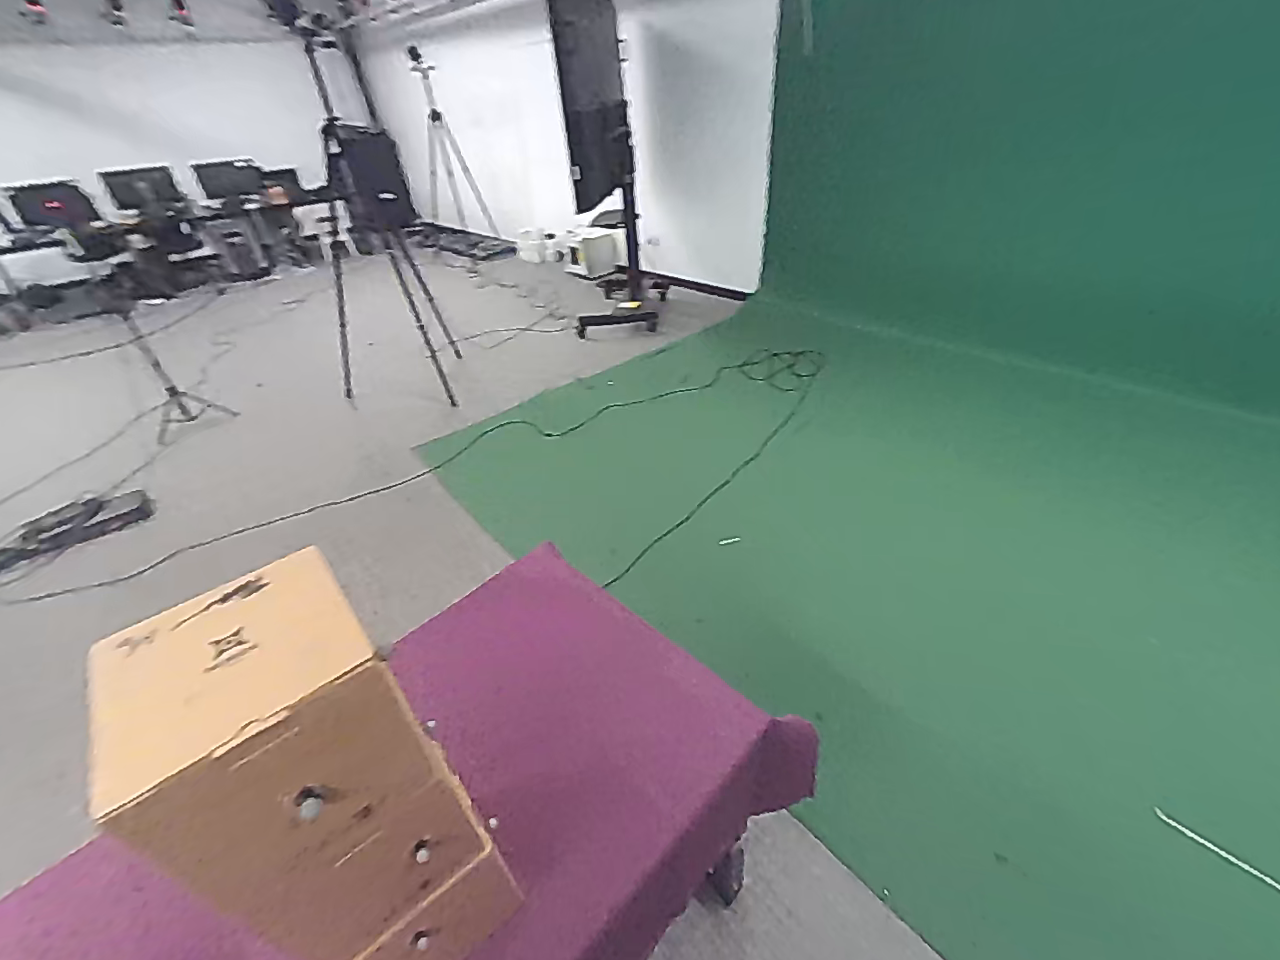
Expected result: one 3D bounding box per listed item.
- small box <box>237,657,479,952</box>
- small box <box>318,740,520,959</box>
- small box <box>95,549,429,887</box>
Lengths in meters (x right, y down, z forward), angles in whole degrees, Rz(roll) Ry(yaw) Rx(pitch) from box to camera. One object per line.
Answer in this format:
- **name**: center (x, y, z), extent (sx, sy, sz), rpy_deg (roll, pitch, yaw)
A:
- **small box**: center (-0.289, 0.330, 0.555), extent (0.168, 0.176, 0.179), rpy_deg (-28, 41, -29)
- **small box**: center (-0.268, 0.465, 0.645), extent (0.179, 0.176, 0.168), rpy_deg (-29, 42, -28)
- **small box**: center (-0.306, 0.198, 0.459), extent (0.168, 0.176, 0.179), rpy_deg (-29, 42, -30)
